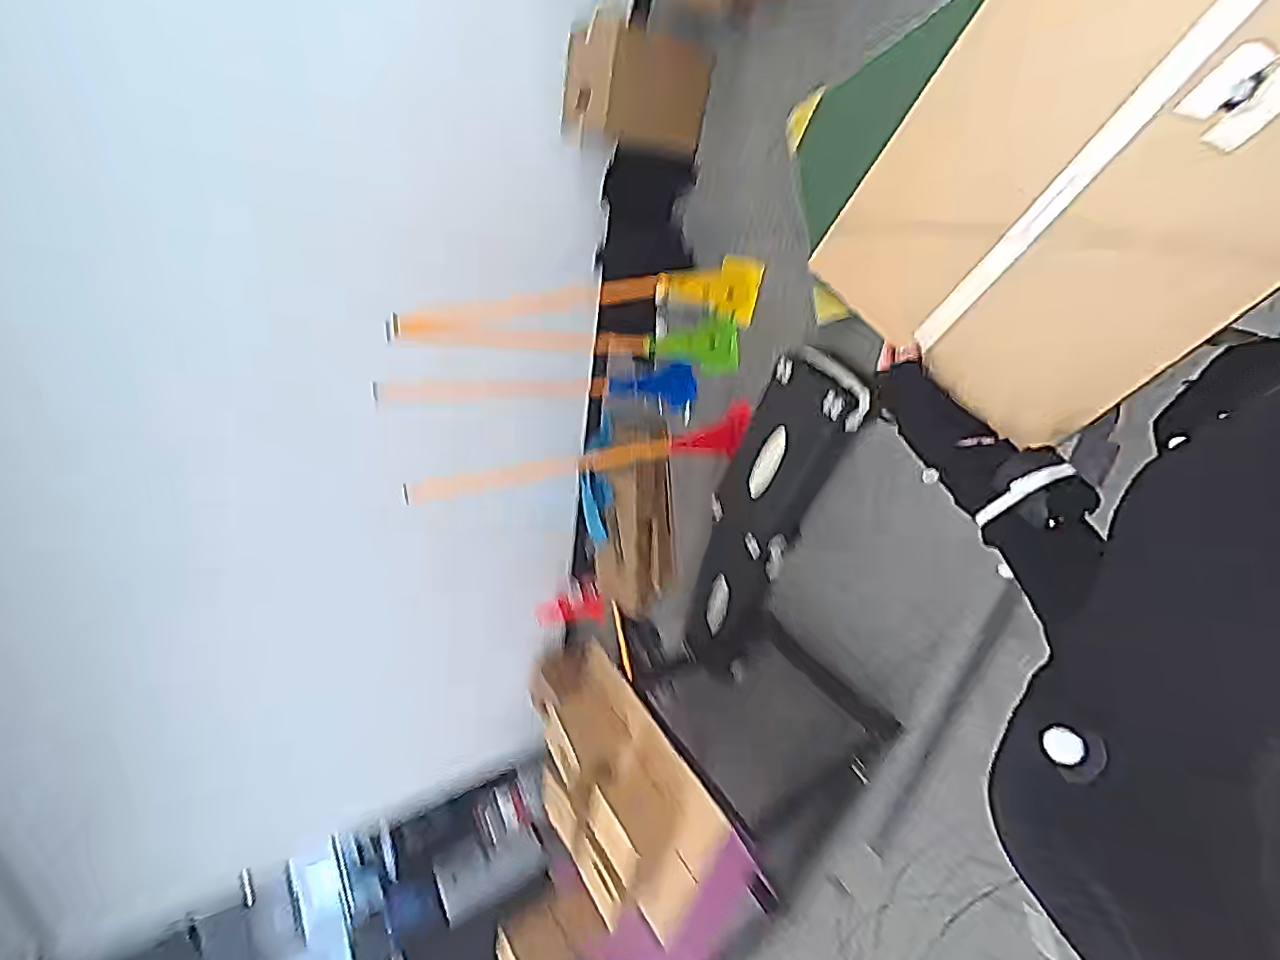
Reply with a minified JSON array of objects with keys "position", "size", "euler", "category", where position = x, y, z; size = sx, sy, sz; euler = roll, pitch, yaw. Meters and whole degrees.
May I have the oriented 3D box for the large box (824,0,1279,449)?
[{"position":[0.478,-0.296,0.534],"size":[0.320,0.320,0.408],"euler":[53,137,19],"category":"large box"}]
